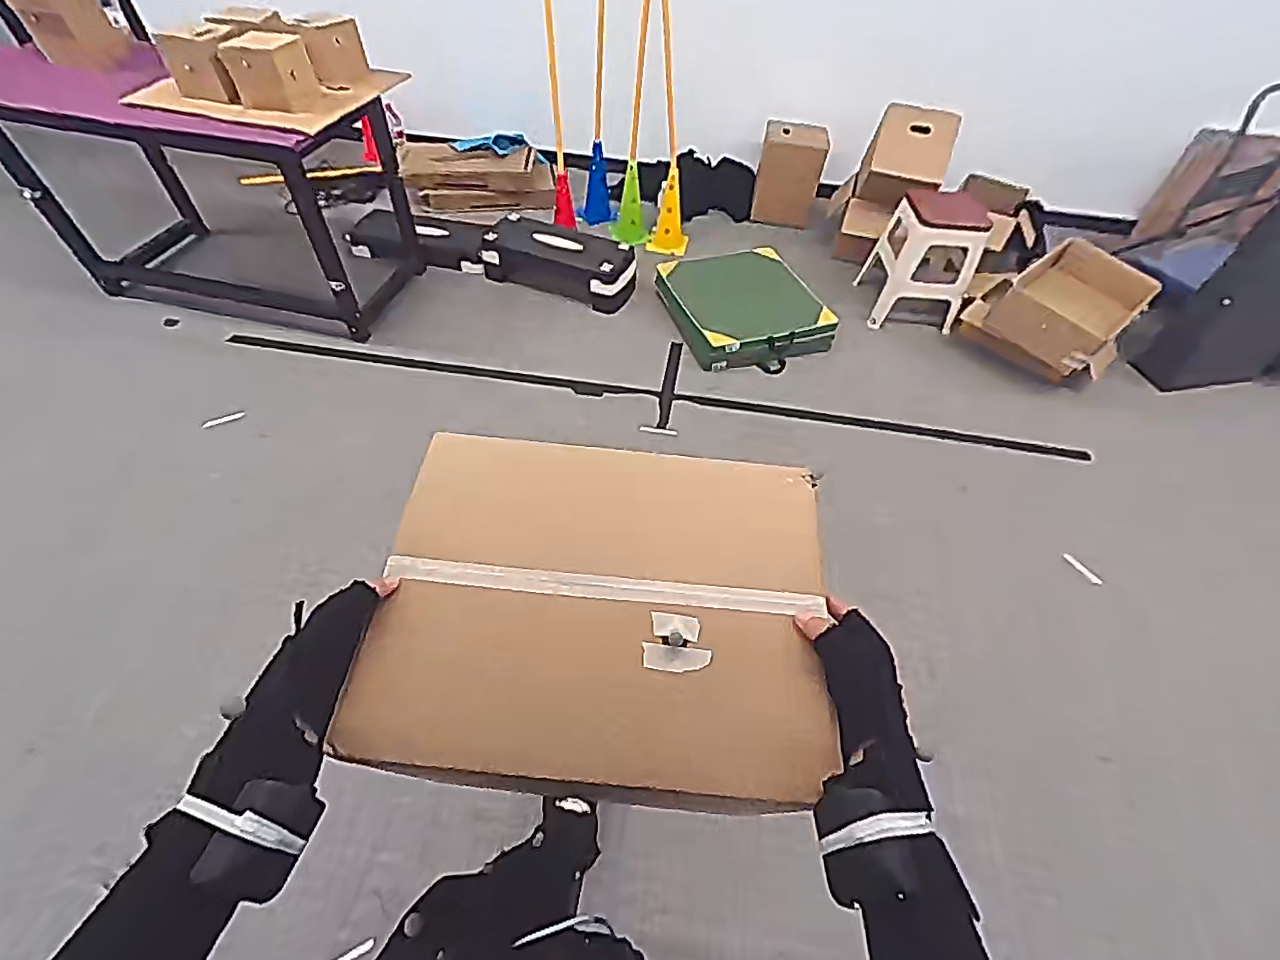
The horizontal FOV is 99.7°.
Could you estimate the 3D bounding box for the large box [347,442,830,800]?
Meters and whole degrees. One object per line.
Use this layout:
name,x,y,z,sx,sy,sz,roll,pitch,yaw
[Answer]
large box,-0.040,0.182,0.641,0.408,0.320,0.320,6,58,0
